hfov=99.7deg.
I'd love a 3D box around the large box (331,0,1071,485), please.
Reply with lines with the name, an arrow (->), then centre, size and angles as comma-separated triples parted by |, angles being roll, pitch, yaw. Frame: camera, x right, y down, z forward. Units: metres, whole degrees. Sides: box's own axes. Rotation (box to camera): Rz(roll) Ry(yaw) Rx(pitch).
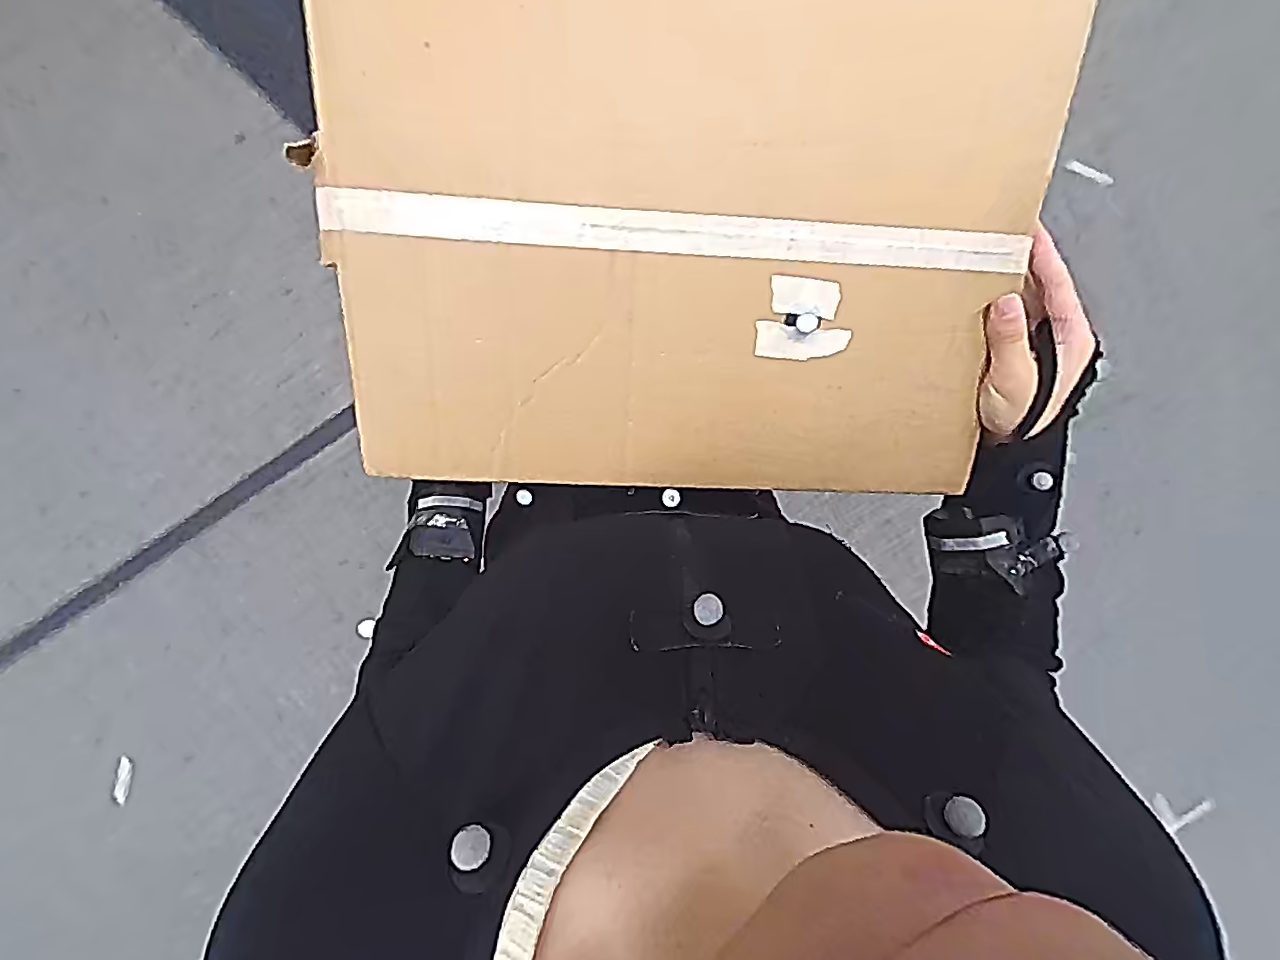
large box -> 0.022, -0.191, 0.463 | 0.408, 0.320, 0.320 | 1, 110, -6
